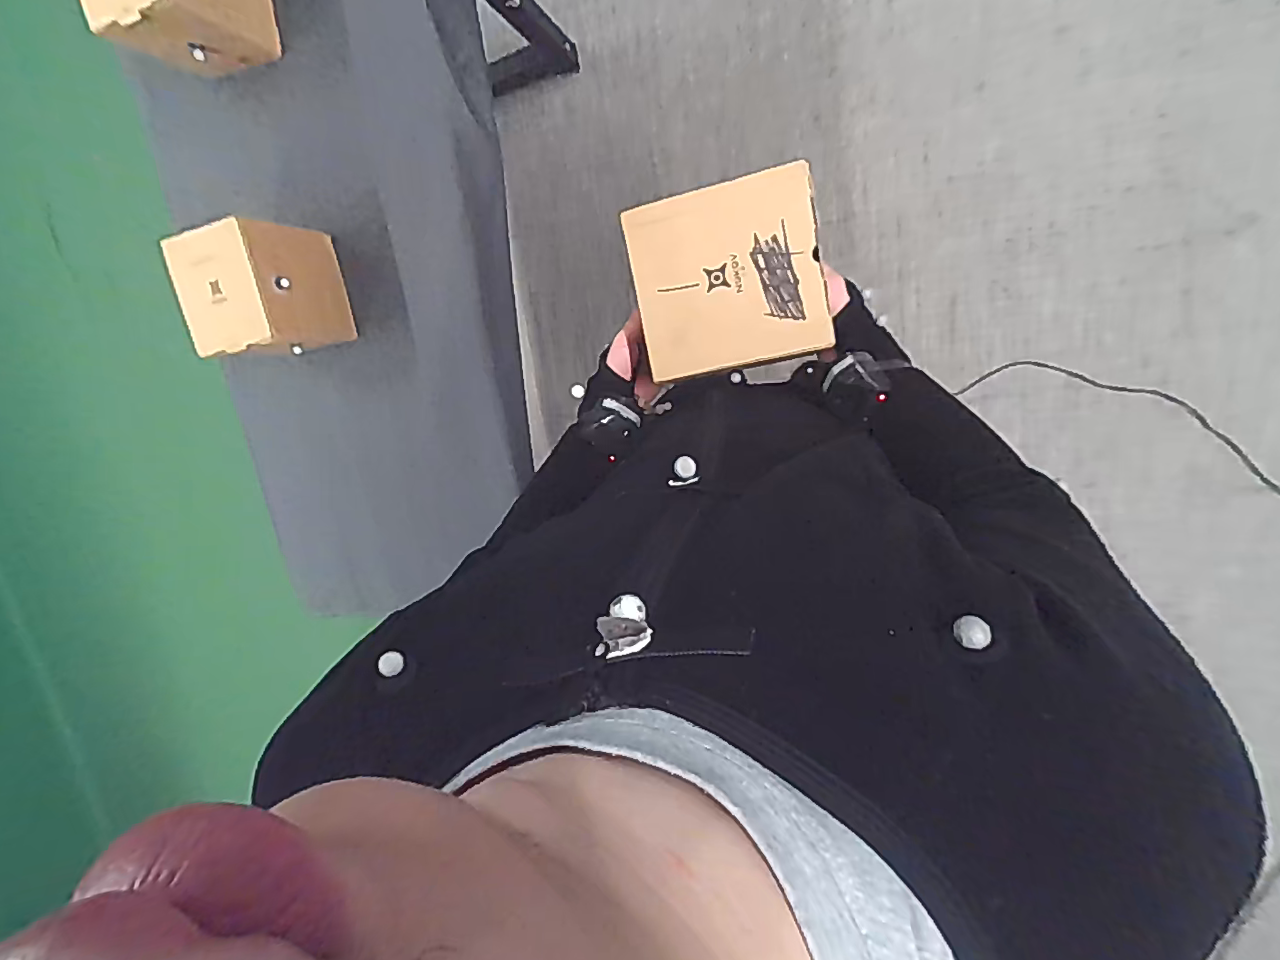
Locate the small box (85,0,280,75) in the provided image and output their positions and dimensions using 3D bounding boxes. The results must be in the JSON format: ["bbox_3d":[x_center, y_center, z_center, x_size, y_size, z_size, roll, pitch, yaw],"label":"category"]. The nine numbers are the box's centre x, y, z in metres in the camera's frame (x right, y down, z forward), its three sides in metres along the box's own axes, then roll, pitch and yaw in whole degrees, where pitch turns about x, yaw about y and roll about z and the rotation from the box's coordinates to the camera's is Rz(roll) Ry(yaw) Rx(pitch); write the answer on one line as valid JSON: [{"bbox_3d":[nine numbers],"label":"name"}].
[{"bbox_3d":[-0.664,-0.722,0.781,0.168,0.176,0.179,1,106,18],"label":"small box"}]

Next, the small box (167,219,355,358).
[{"bbox_3d":[-0.603,-0.302,0.884,0.168,0.176,0.179,-6,102,19],"label":"small box"}]
